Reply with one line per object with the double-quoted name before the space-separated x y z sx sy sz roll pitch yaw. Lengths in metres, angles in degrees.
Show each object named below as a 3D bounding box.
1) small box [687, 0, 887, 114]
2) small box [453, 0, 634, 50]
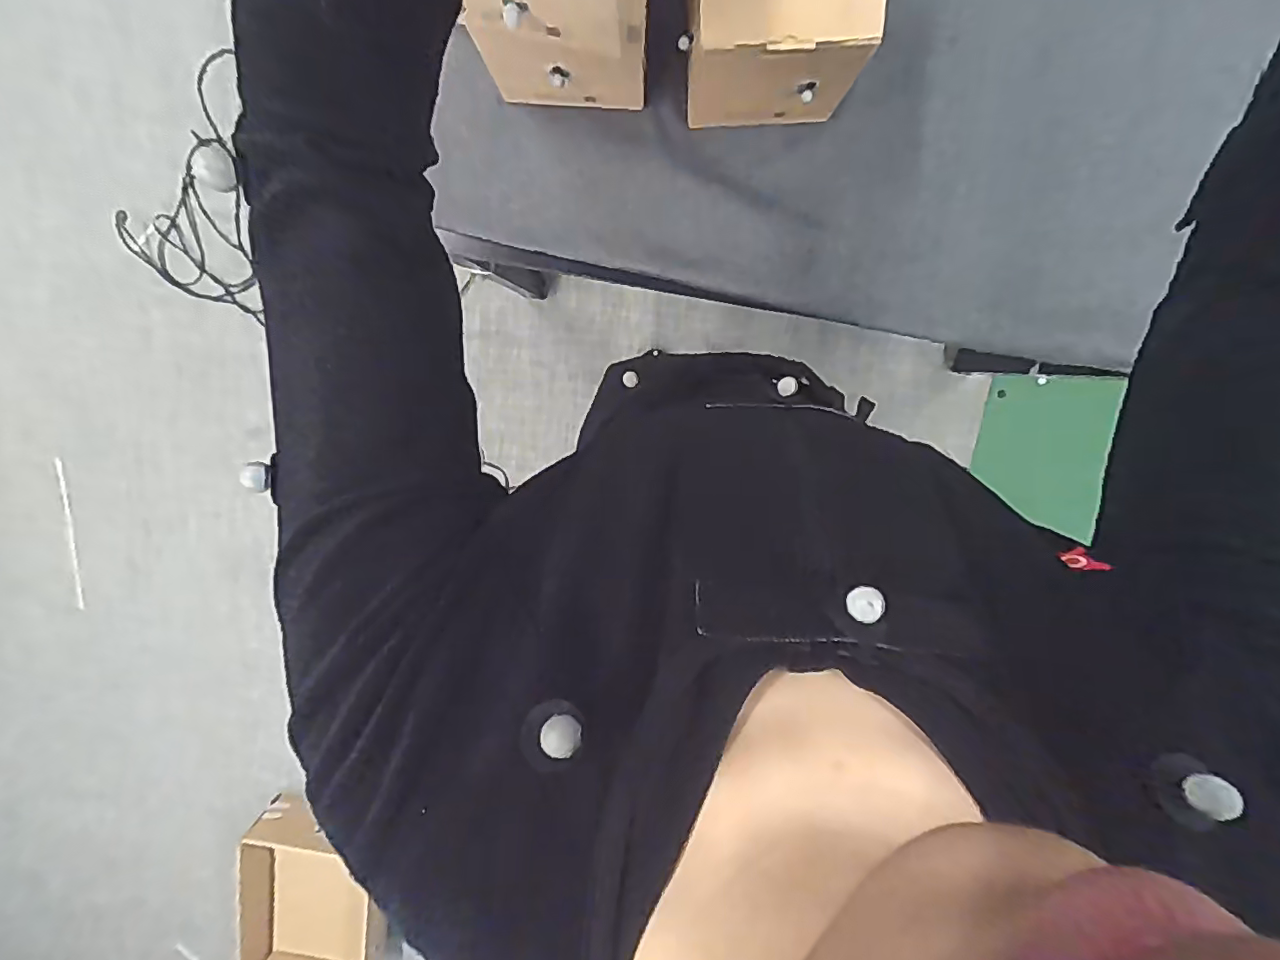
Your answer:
"small box" 0.137 -0.493 0.541 0.168 0.176 0.179 -1 102 1
"small box" -0.076 -0.463 0.384 0.168 0.176 0.179 12 103 -2
